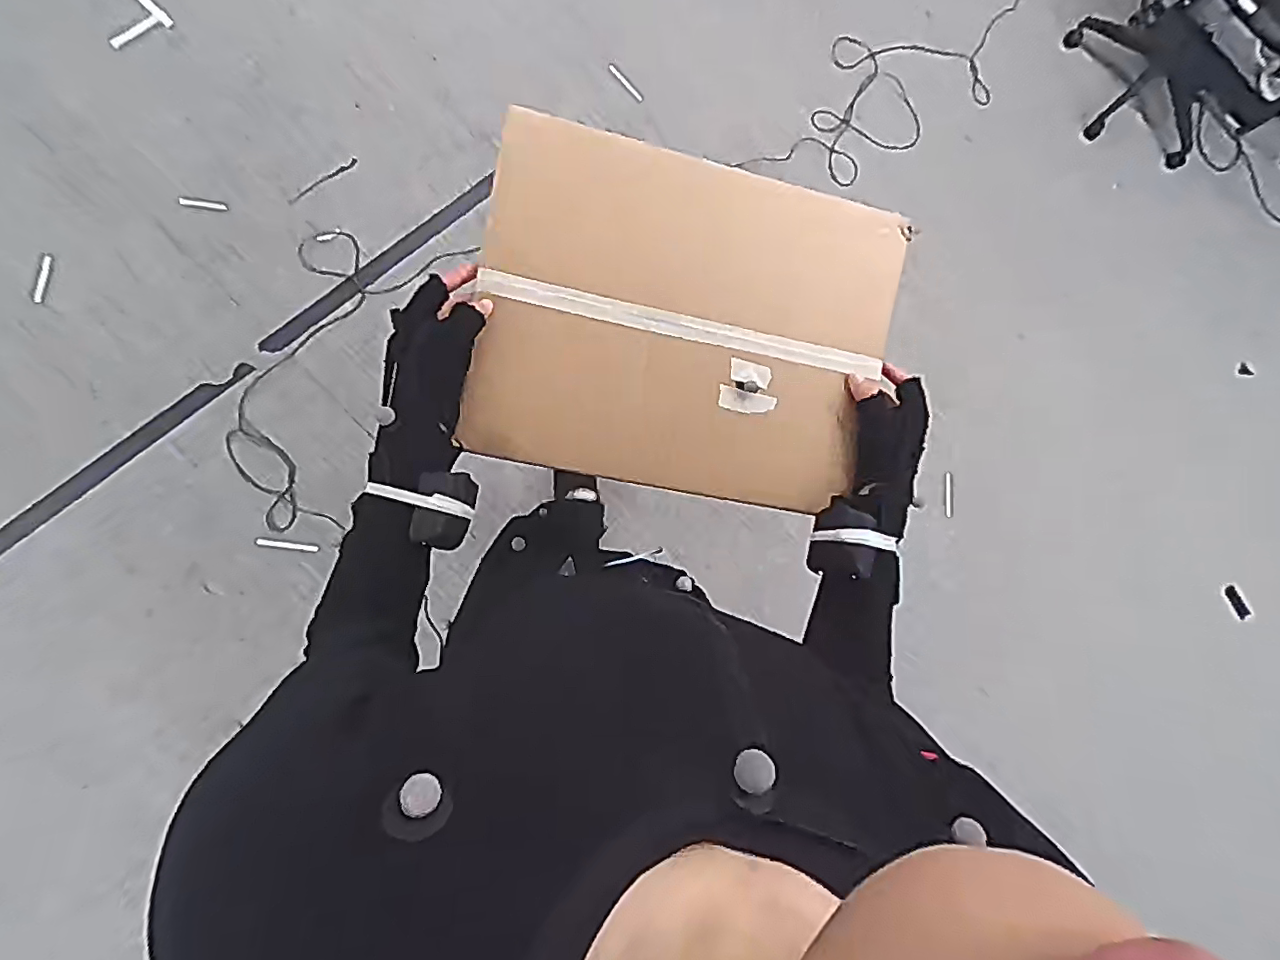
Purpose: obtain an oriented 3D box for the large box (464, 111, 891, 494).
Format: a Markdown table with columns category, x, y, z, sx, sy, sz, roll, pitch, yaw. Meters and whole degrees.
| category | x | y | z | sx | sy | sz | roll | pitch | yaw |
| --- | --- | --- | --- | --- | --- | --- | --- | --- | --- |
| large box | 0.022 | -0.177 | 0.688 | 0.408 | 0.320 | 0.320 | 10 | 95 | -10 |
